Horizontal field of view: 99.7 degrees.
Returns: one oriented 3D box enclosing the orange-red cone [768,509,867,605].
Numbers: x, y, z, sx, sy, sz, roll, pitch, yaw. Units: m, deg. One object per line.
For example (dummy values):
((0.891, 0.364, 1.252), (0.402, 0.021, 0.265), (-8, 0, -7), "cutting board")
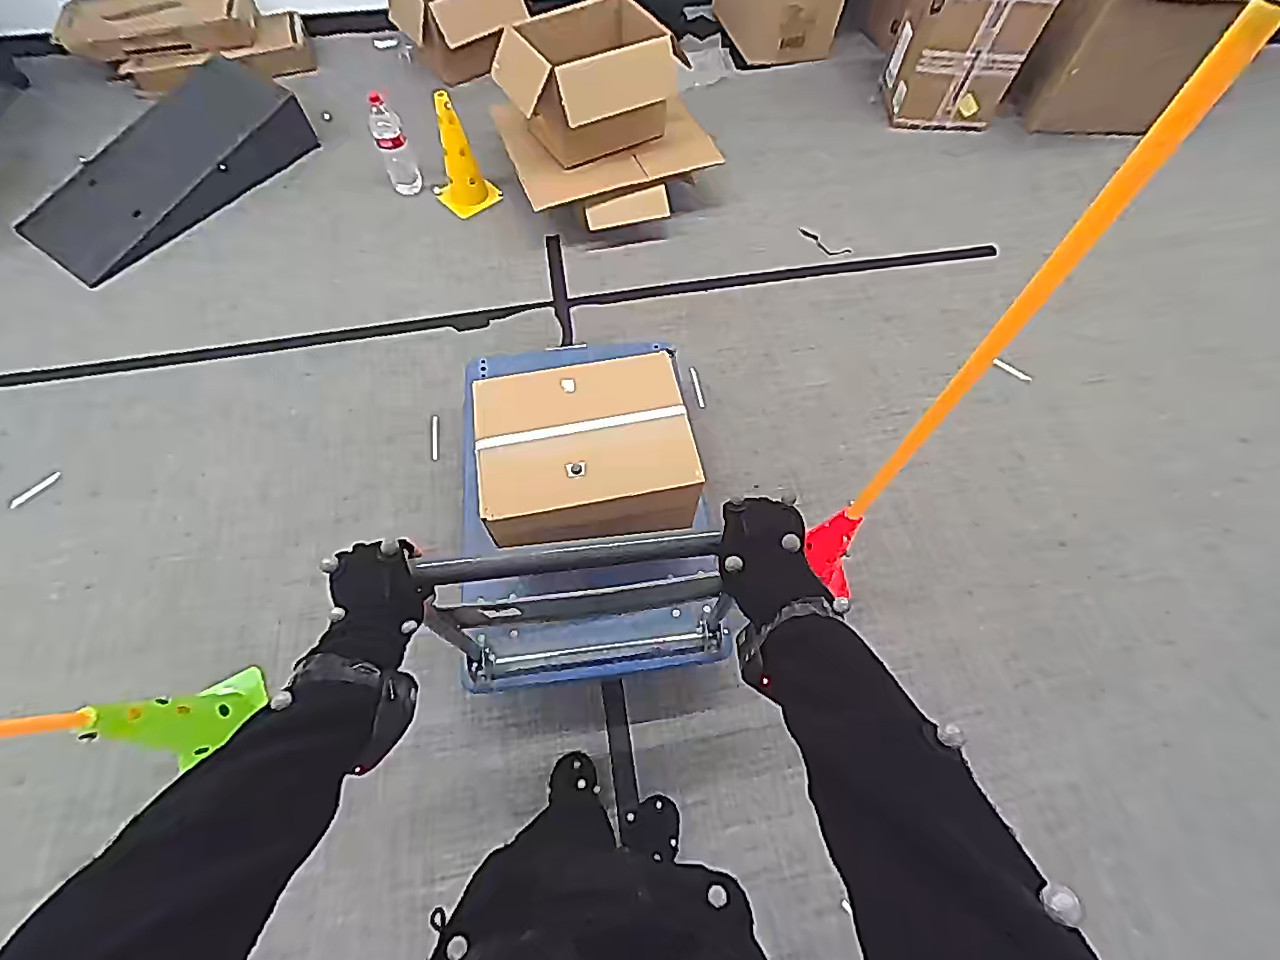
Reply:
((0.446, 0.152, 1.264), (0.199, 0.360, 0.198), (-2, 64, -3), "orange-red cone")
